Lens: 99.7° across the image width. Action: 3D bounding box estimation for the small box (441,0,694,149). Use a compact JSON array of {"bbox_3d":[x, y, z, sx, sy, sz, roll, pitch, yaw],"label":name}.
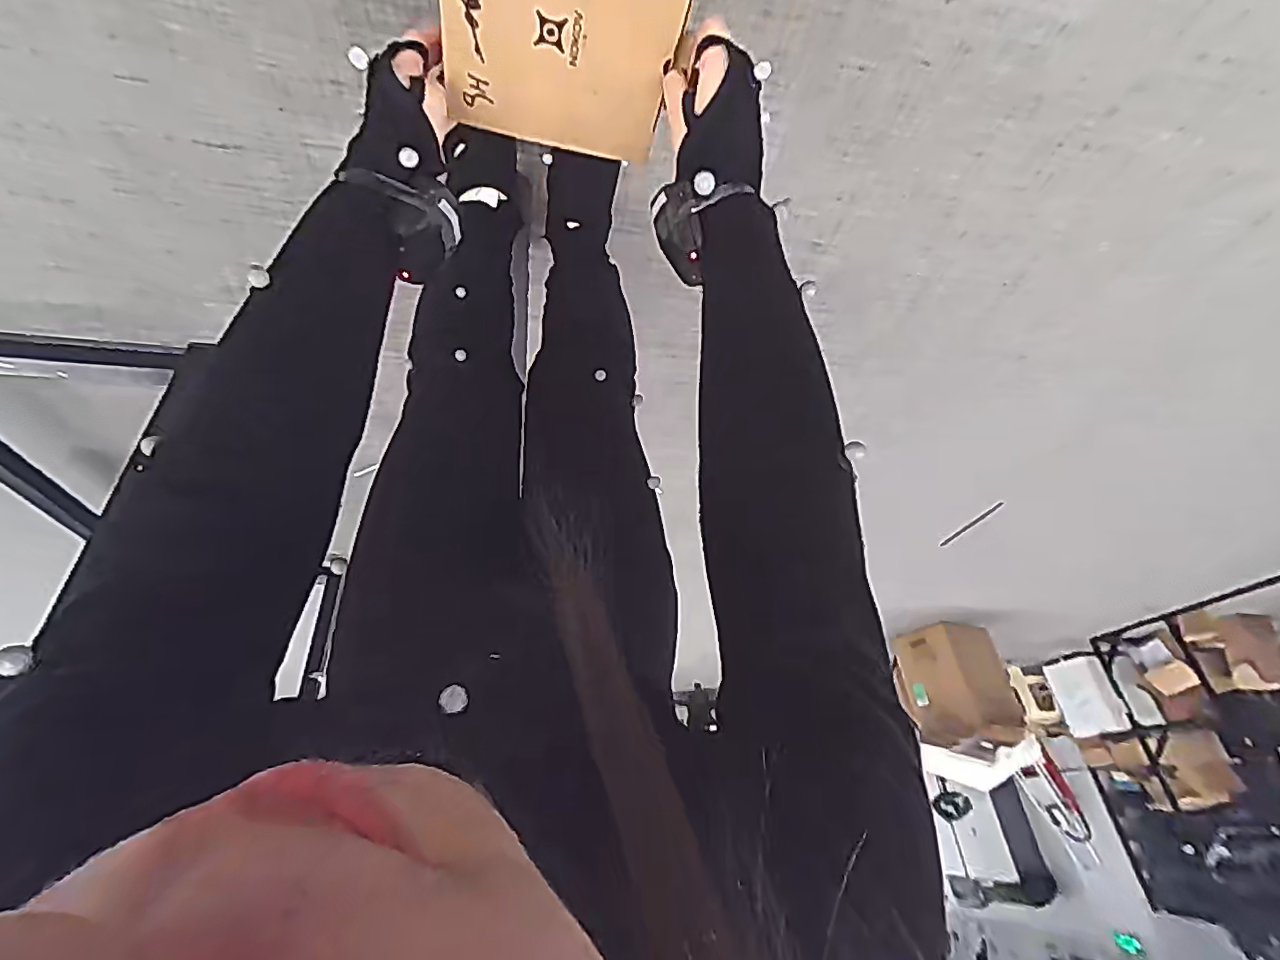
[{"bbox_3d":[-0.058,-0.407,0.424,0.179,0.176,0.168,4,154,-15],"label":"small box"}]
